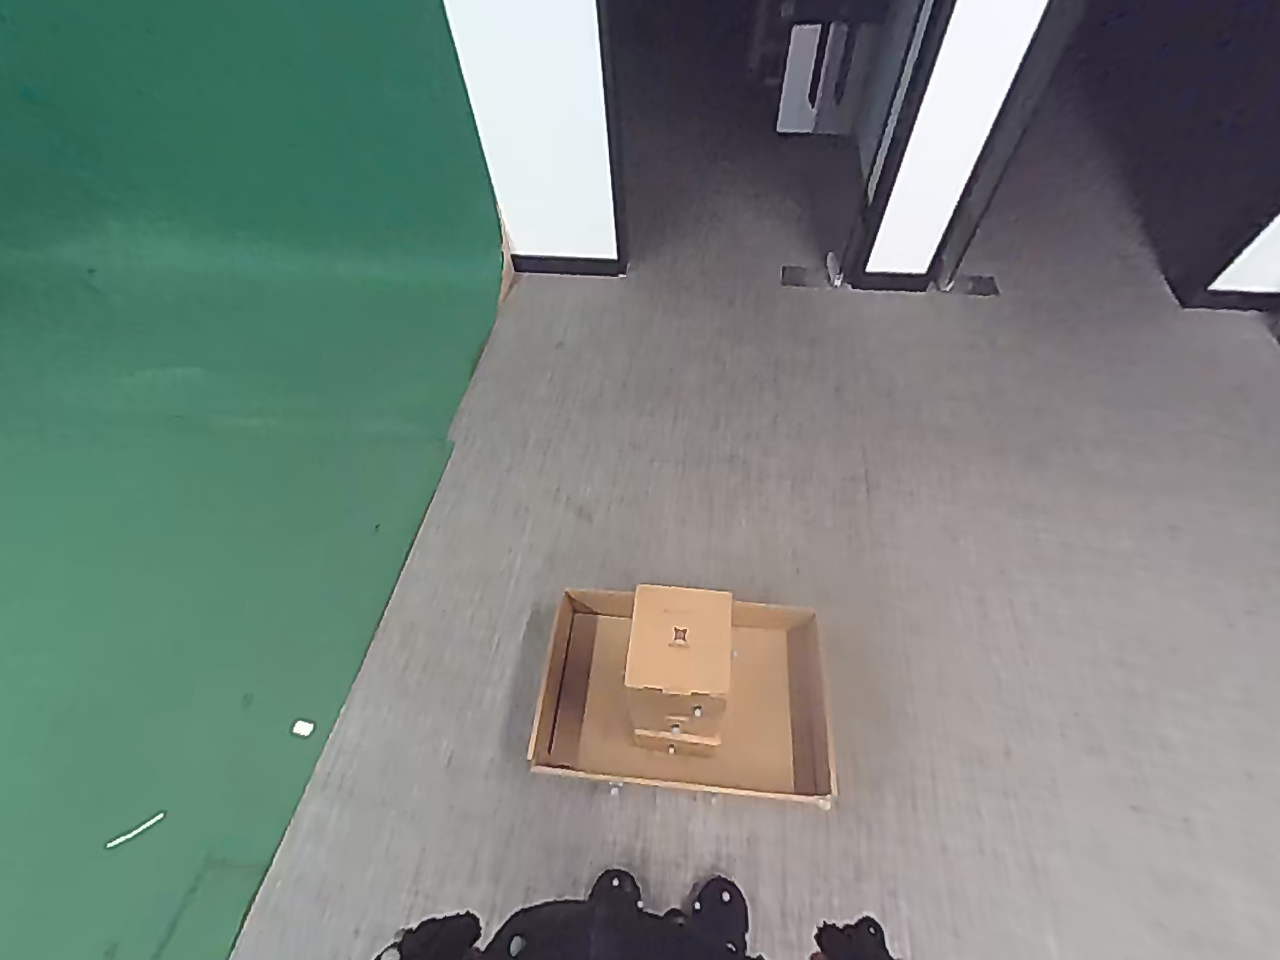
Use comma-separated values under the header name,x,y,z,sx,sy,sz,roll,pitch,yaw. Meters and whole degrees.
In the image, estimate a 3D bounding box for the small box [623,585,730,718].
name,x,y,z,sx,sy,sz,roll,pitch,yaw
small box,0.066,0.305,0.950,0.168,0.176,0.179,4,54,5

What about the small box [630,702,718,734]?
name,x,y,z,sx,sy,sz,roll,pitch,yaw
small box,0.076,0.408,1.100,0.168,0.176,0.179,1,54,6

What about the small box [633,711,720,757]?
name,x,y,z,sx,sy,sz,roll,pitch,yaw
small box,0.089,0.514,1.220,0.179,0.176,0.168,5,54,8
